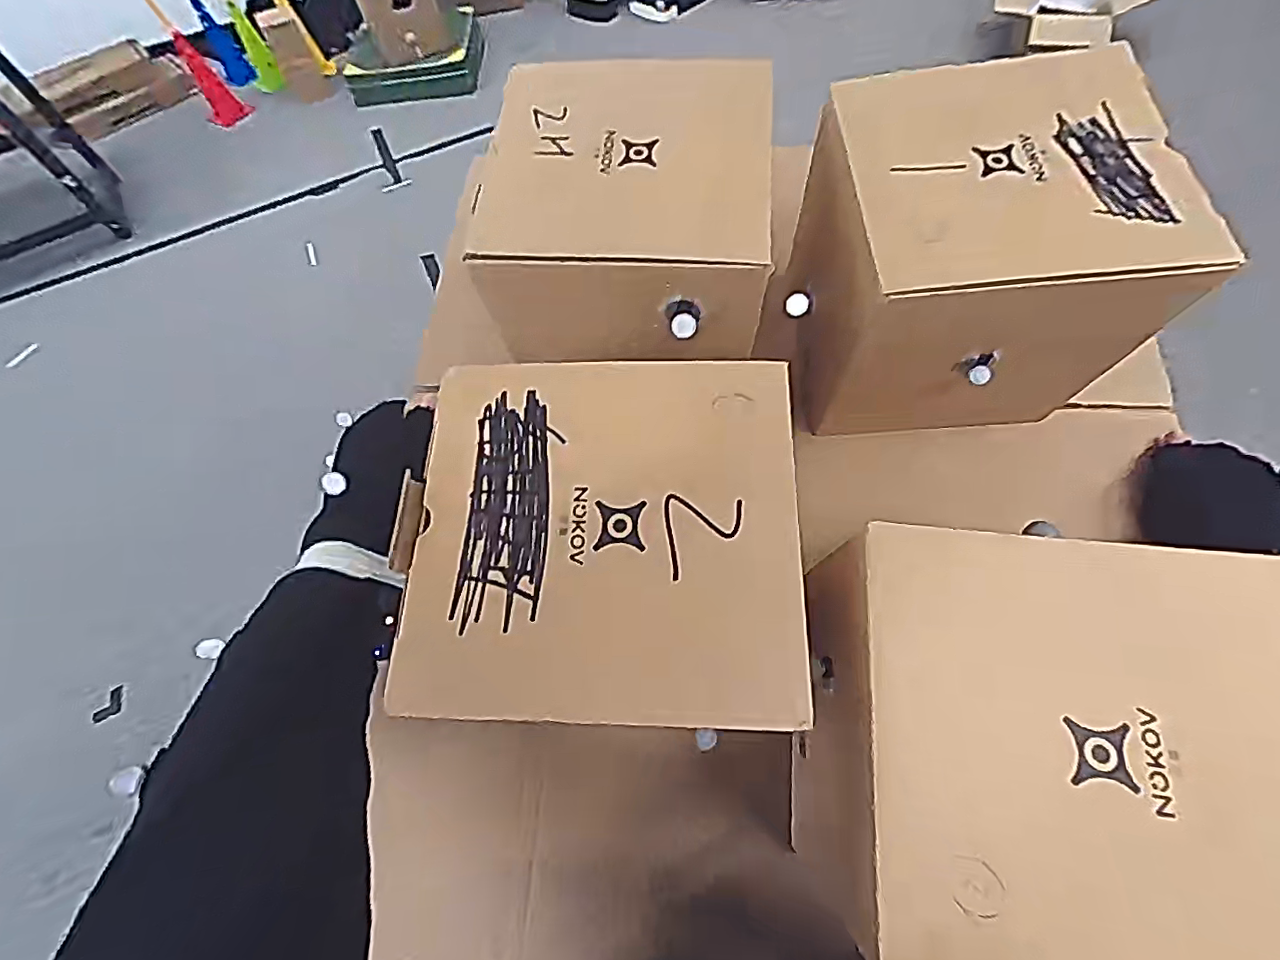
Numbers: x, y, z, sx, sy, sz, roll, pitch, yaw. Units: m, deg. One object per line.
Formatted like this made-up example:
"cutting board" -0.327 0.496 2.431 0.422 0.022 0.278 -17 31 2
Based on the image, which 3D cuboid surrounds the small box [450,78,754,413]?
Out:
"small box" -0.012 -0.161 0.409 0.179 0.176 0.168 3 69 7
